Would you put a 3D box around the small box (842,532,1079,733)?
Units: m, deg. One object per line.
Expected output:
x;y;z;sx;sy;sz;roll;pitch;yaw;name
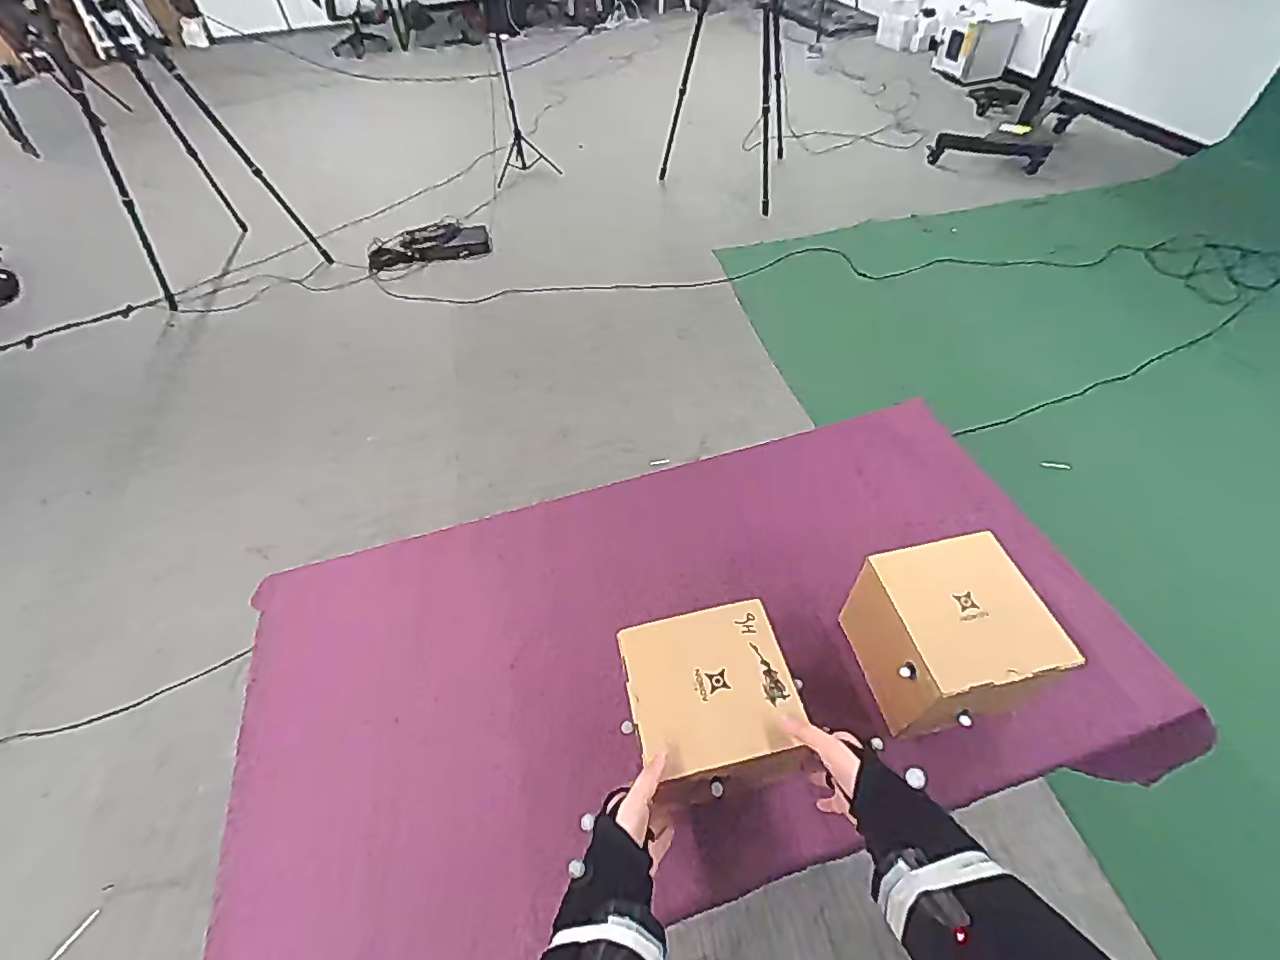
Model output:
0.381;0.195;0.687;0.168;0.176;0.179;-11;51;-4;small box

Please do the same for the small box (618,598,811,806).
0.081;0.270;0.648;0.179;0.176;0.168;-12;50;-4;small box
